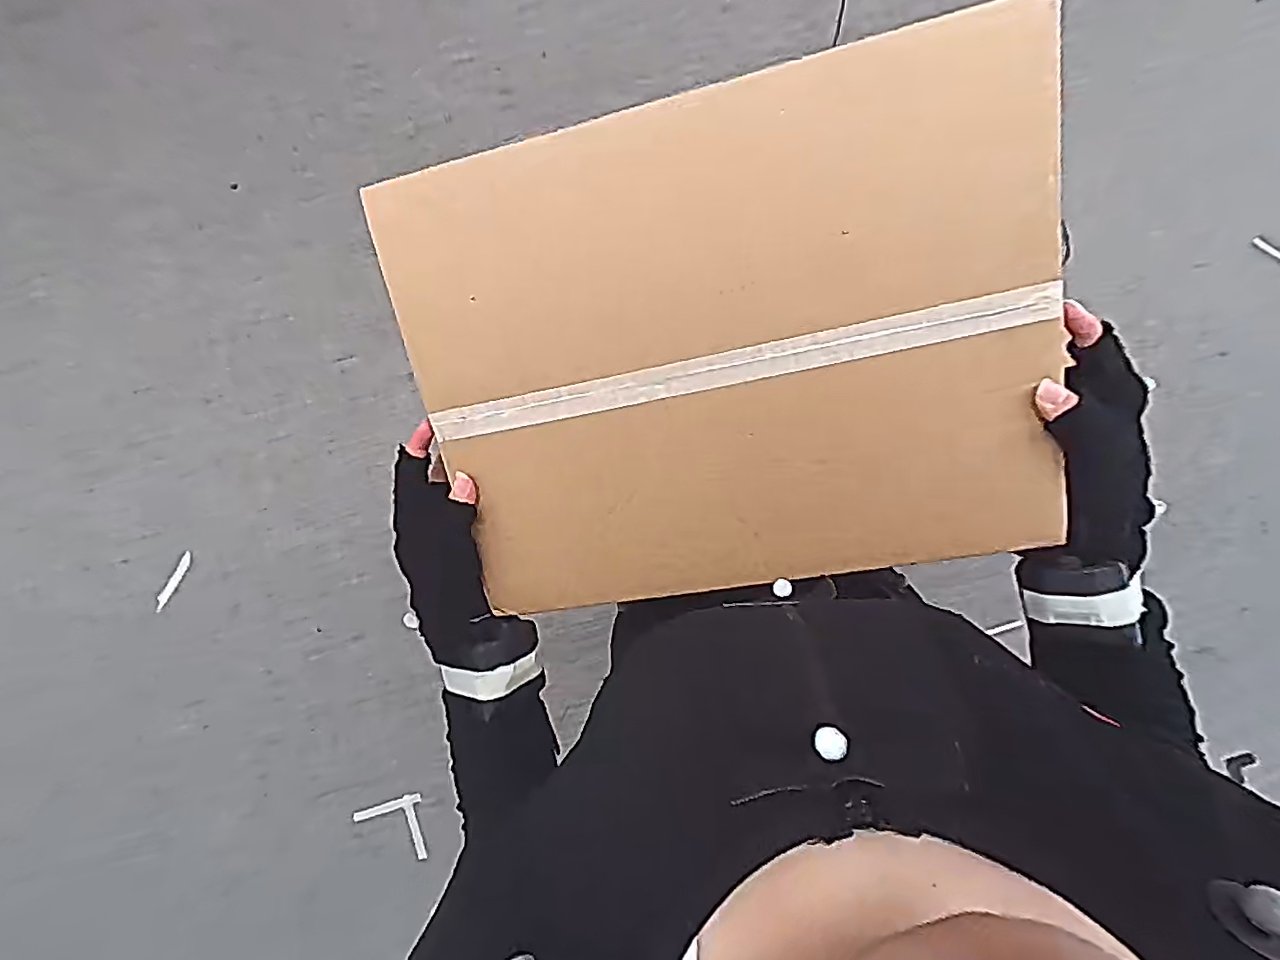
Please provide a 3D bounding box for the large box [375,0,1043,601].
[{"bbox_3d":[0.067,-0.124,0.498,0.408,0.320,0.320,-9,105,10],"label":"large box"}]
